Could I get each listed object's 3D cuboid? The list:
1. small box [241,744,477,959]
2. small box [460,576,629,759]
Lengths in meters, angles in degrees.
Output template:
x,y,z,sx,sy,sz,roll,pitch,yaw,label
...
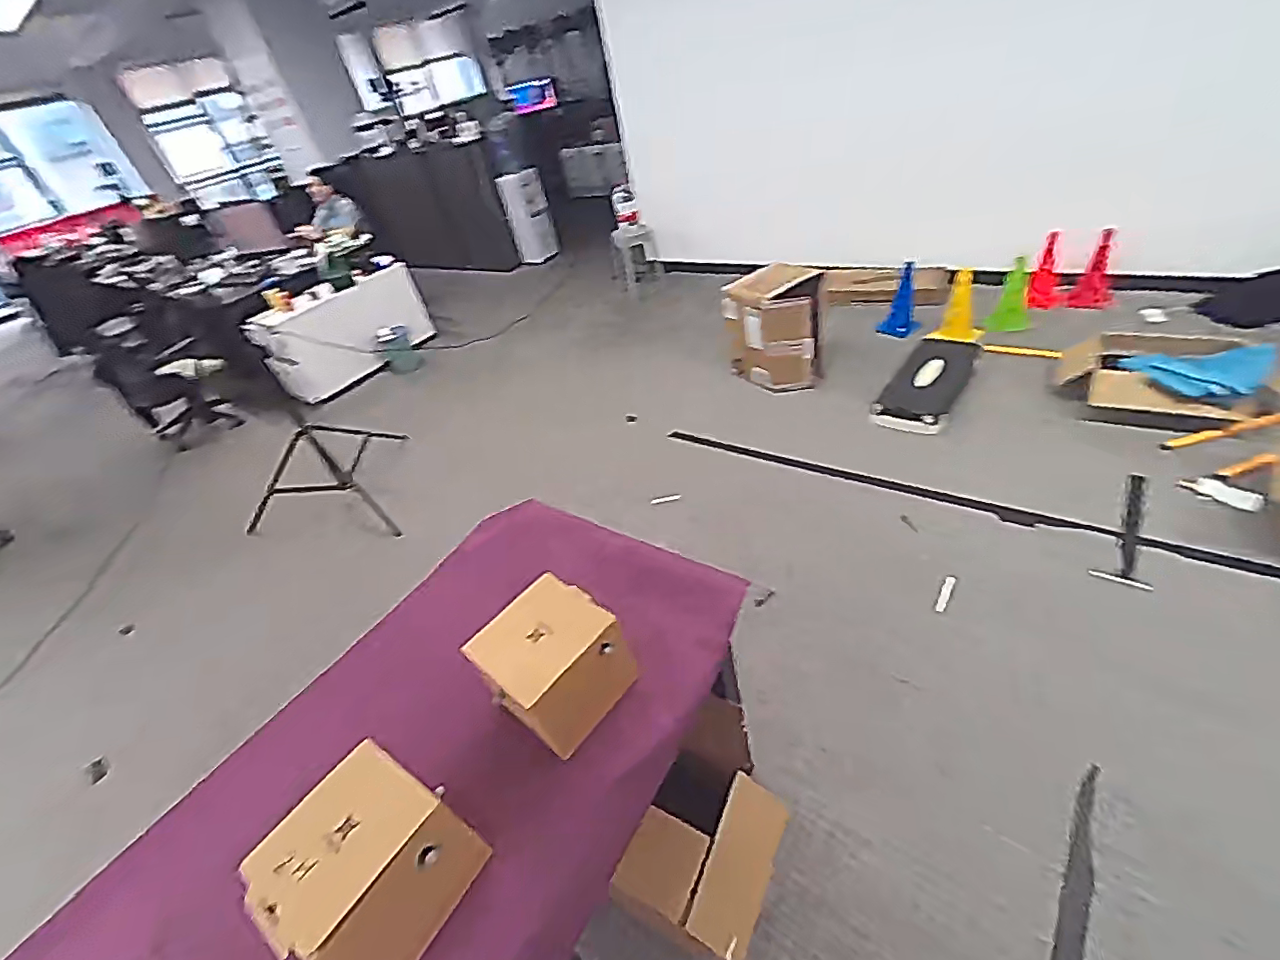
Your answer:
x,y,z,sx,sy,sz,roll,pitch,yaw,label
-0.329,0.479,0.671,0.168,0.176,0.179,13,46,34,small box
-0.138,0.290,0.843,0.168,0.176,0.179,21,50,37,small box
